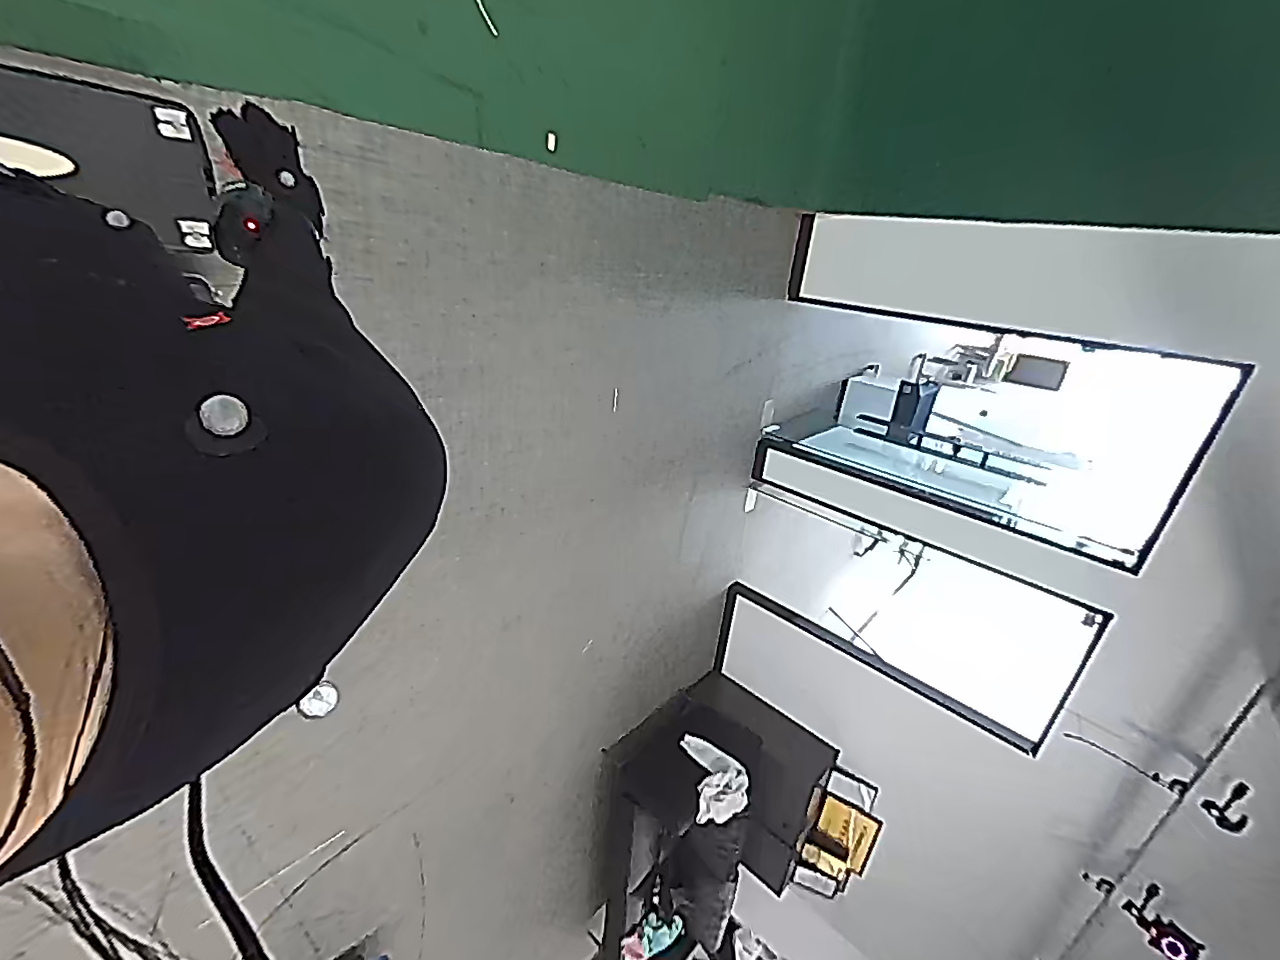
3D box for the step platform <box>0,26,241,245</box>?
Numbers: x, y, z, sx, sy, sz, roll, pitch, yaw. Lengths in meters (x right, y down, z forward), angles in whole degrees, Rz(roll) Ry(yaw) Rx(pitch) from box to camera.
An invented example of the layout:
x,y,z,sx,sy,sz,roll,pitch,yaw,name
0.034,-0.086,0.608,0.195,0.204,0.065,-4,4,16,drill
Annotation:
x,y,z,sx,sy,sz,roll,pitch,yaw,name
-1.013,-0.520,0.778,0.684,0.204,0.286,-19,125,-44,step platform
